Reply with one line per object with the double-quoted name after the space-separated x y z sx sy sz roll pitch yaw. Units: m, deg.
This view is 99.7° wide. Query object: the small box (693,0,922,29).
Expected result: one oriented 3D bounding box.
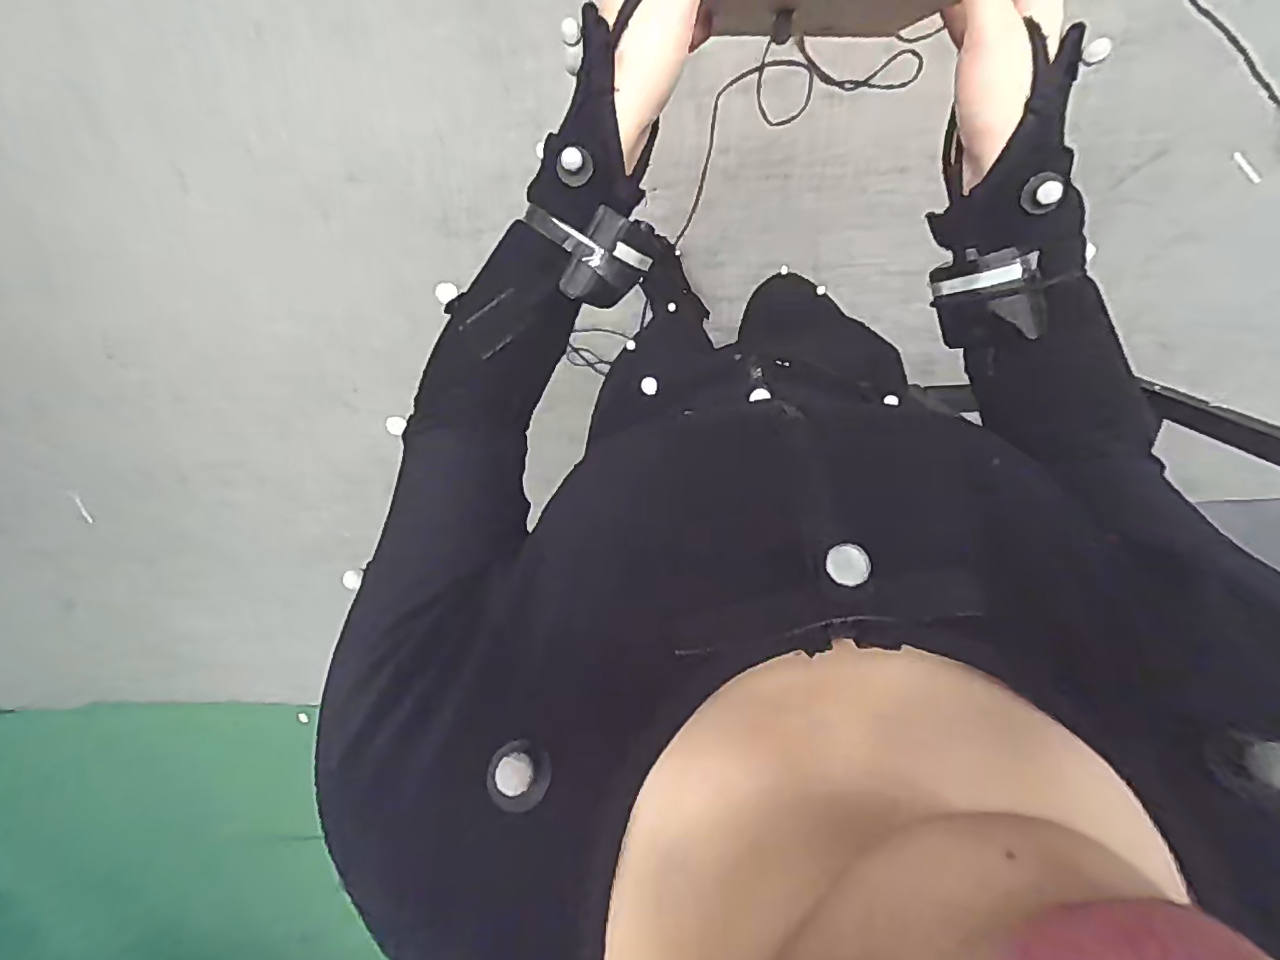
0.118 -0.398 0.327 0.168 0.176 0.179 2 120 3 "small box"
